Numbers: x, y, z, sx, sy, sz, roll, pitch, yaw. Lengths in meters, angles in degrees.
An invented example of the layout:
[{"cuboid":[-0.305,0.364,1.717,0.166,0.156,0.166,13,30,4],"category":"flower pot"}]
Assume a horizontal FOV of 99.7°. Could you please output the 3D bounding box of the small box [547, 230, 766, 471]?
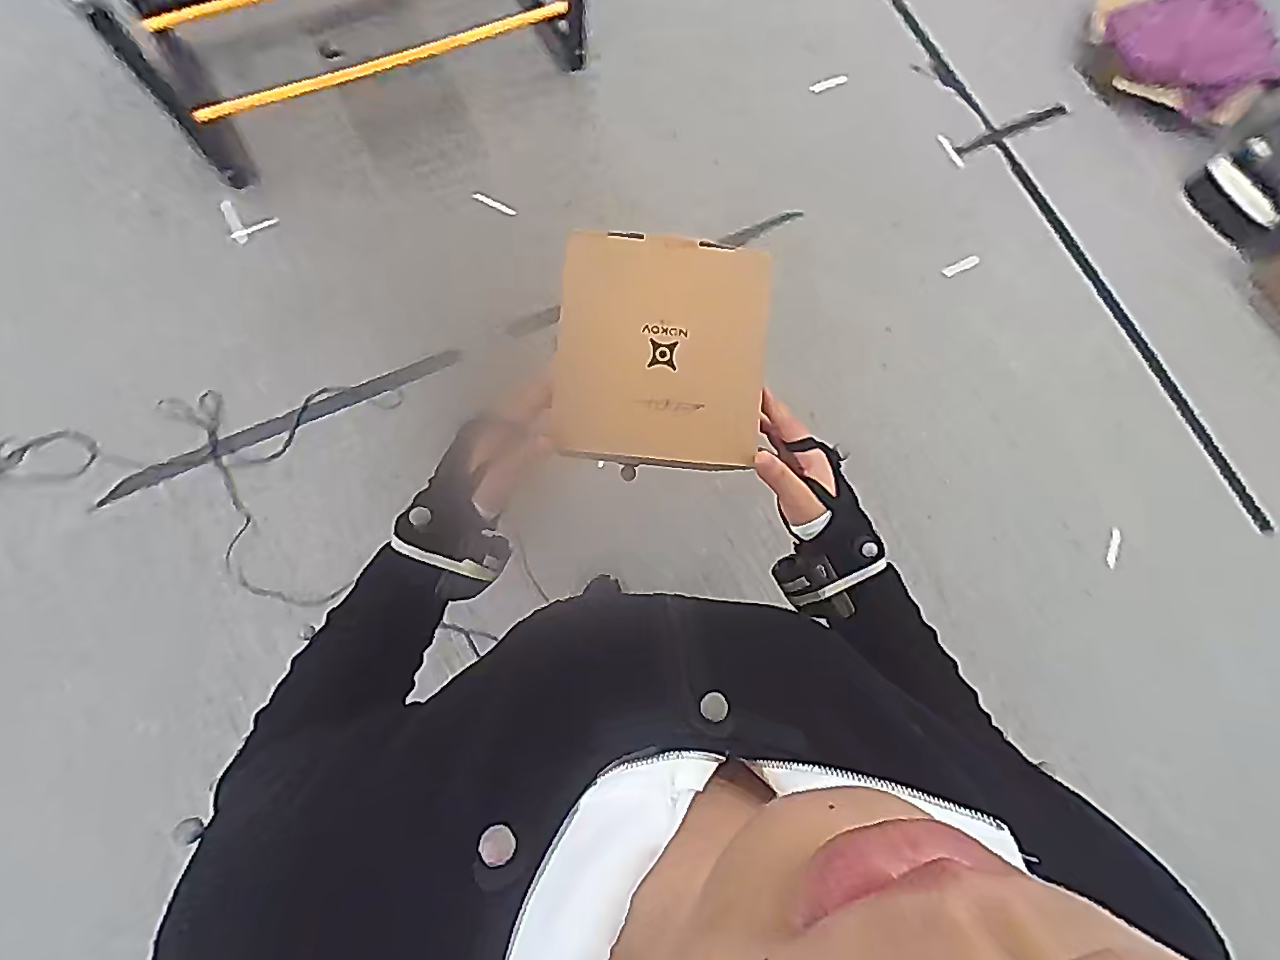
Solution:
[{"cuboid":[0.009,-0.102,0.502,0.168,0.176,0.179,3,90,-3],"category":"small box"}]
